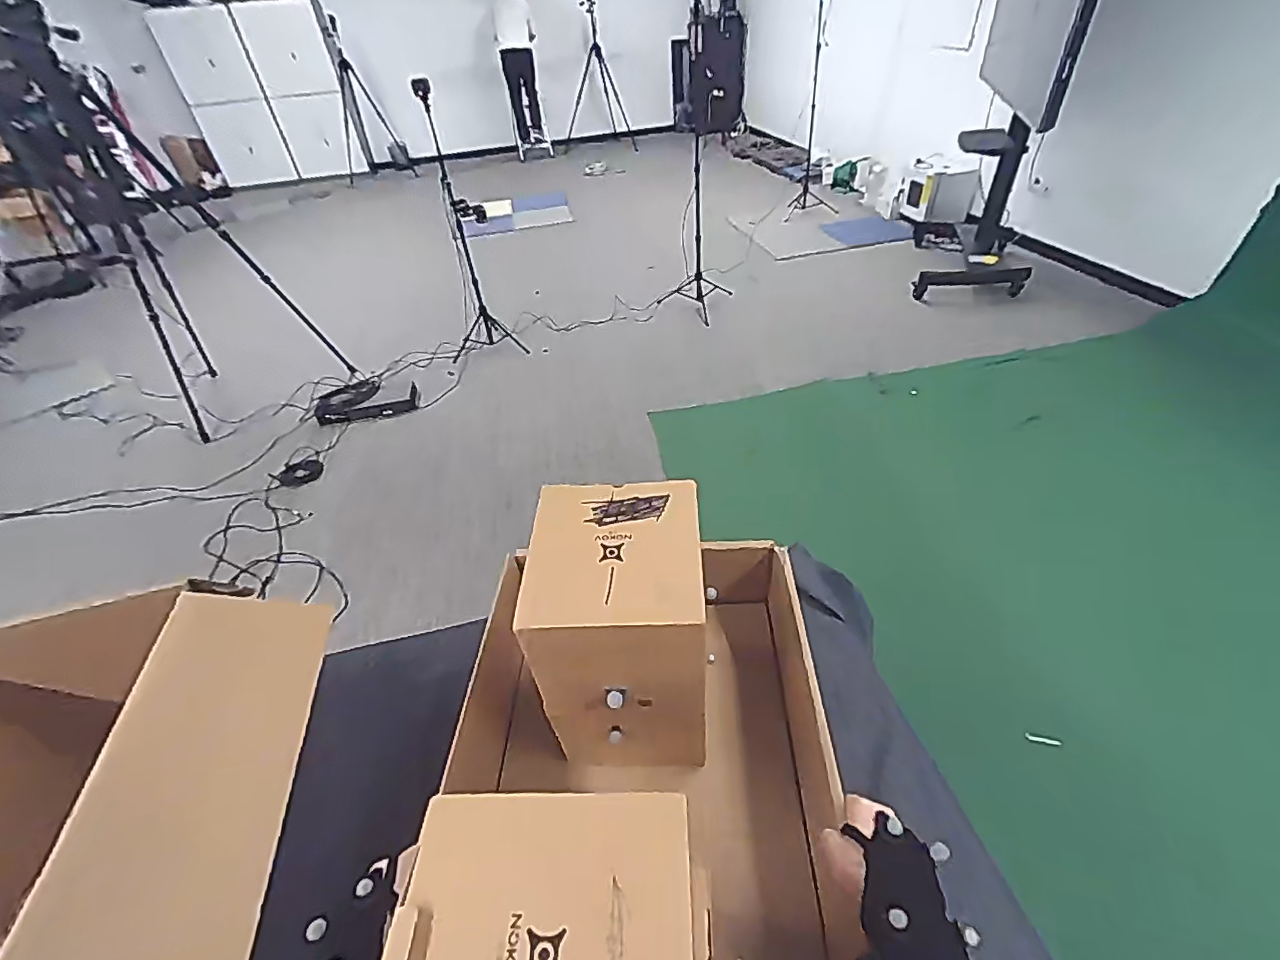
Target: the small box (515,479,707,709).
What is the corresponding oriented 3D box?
[{"bbox_3d":[-0.018,0.119,0.568,0.168,0.176,0.179,-2,45,4],"label":"small box"}]
